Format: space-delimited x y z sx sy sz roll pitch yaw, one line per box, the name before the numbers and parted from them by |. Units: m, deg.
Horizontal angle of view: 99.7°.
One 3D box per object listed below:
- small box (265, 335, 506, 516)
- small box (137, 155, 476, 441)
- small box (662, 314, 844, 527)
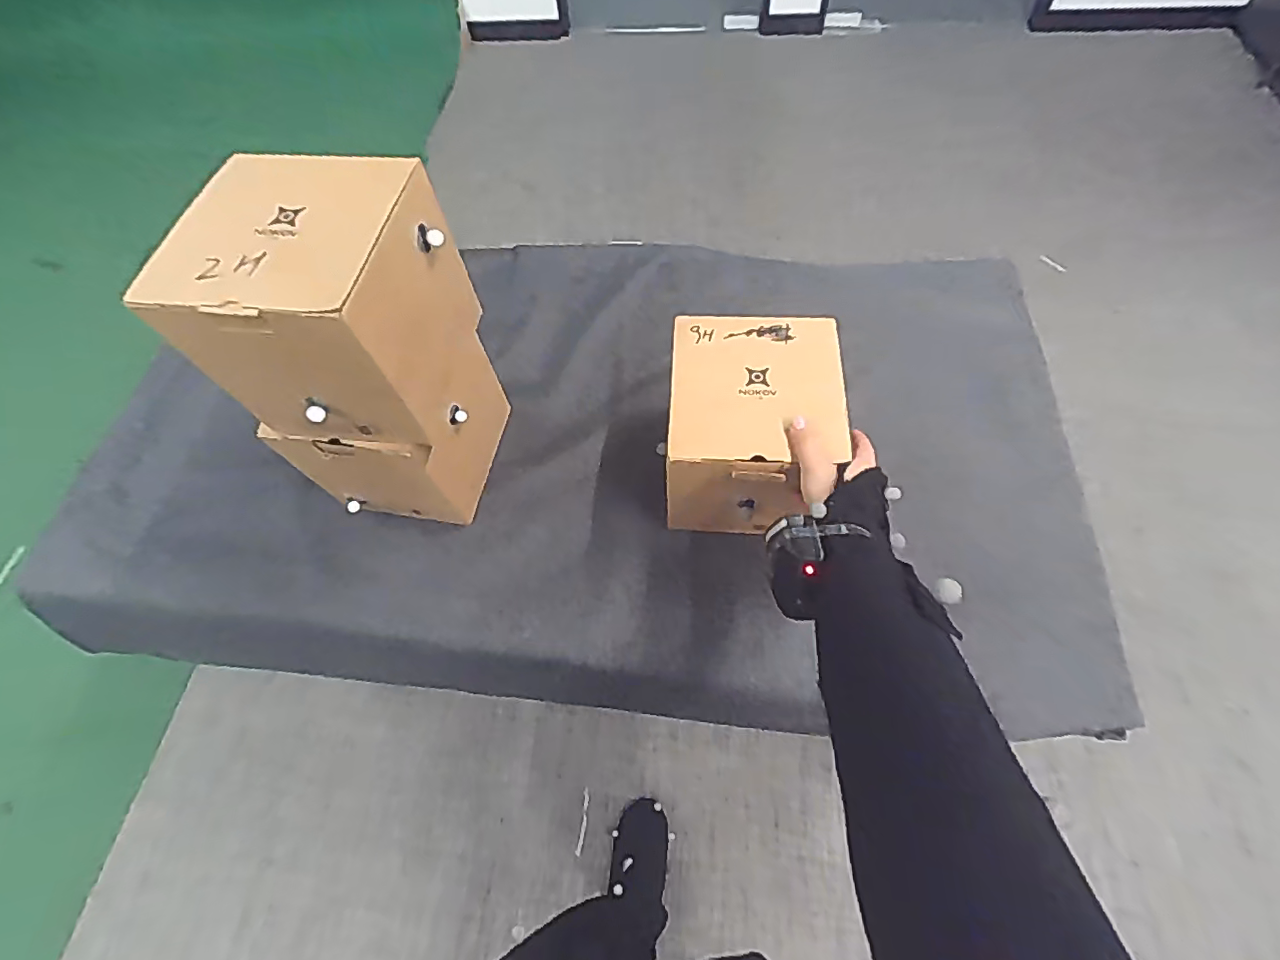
small box | -0.271 -0.074 0.628 0.168 0.176 0.179 8 62 7
small box | -0.264 -0.157 0.485 0.168 0.176 0.179 4 62 6
small box | 0.114 -0.058 0.595 0.168 0.176 0.179 3 63 5
